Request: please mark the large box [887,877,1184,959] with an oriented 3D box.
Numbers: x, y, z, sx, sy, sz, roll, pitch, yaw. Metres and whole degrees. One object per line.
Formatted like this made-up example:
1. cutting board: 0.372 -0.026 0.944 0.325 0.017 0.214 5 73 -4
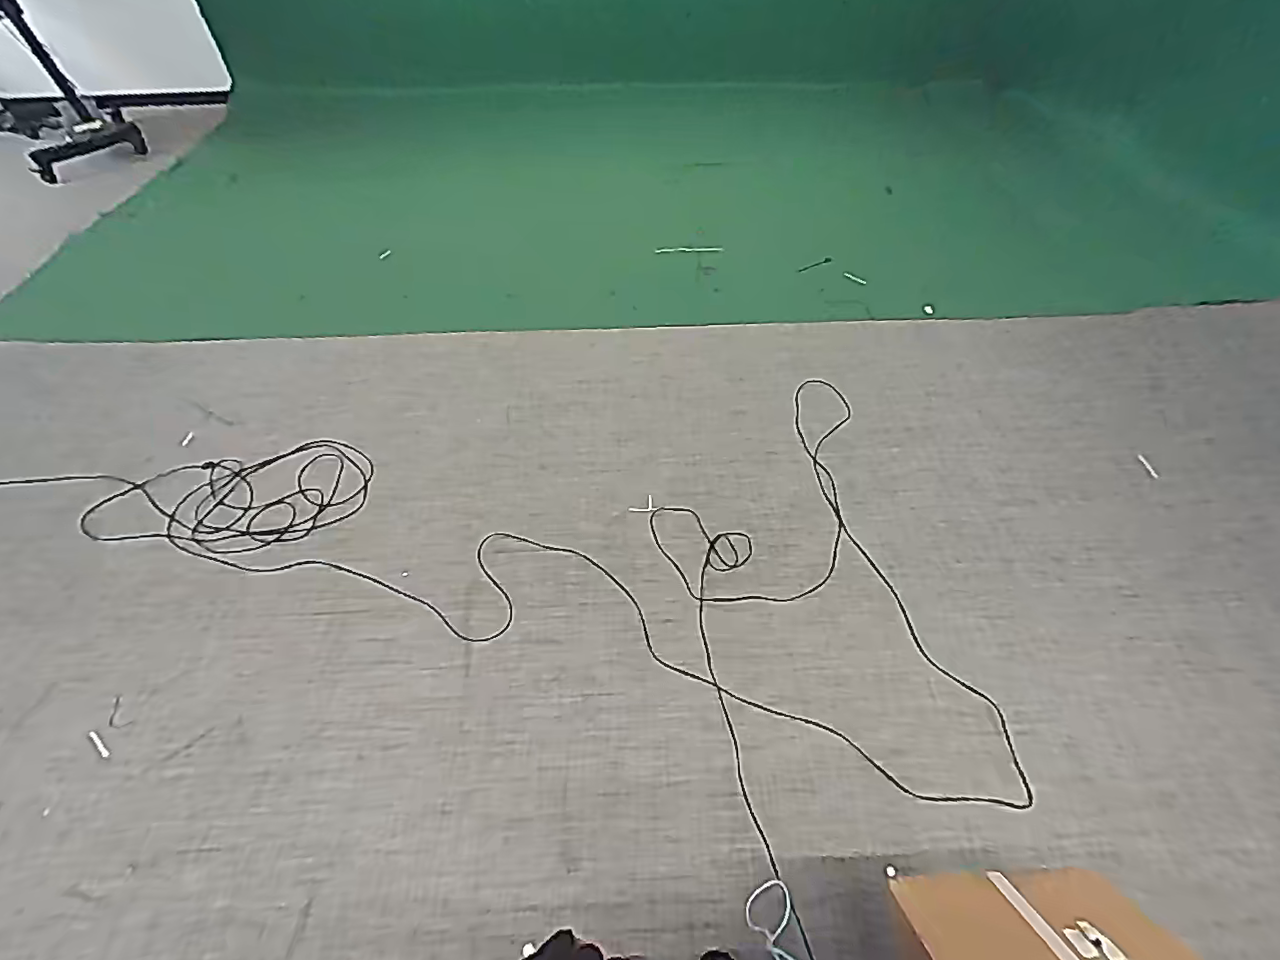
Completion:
1. large box: 0.535 0.754 0.613 0.320 0.408 0.320 -4 88 2
